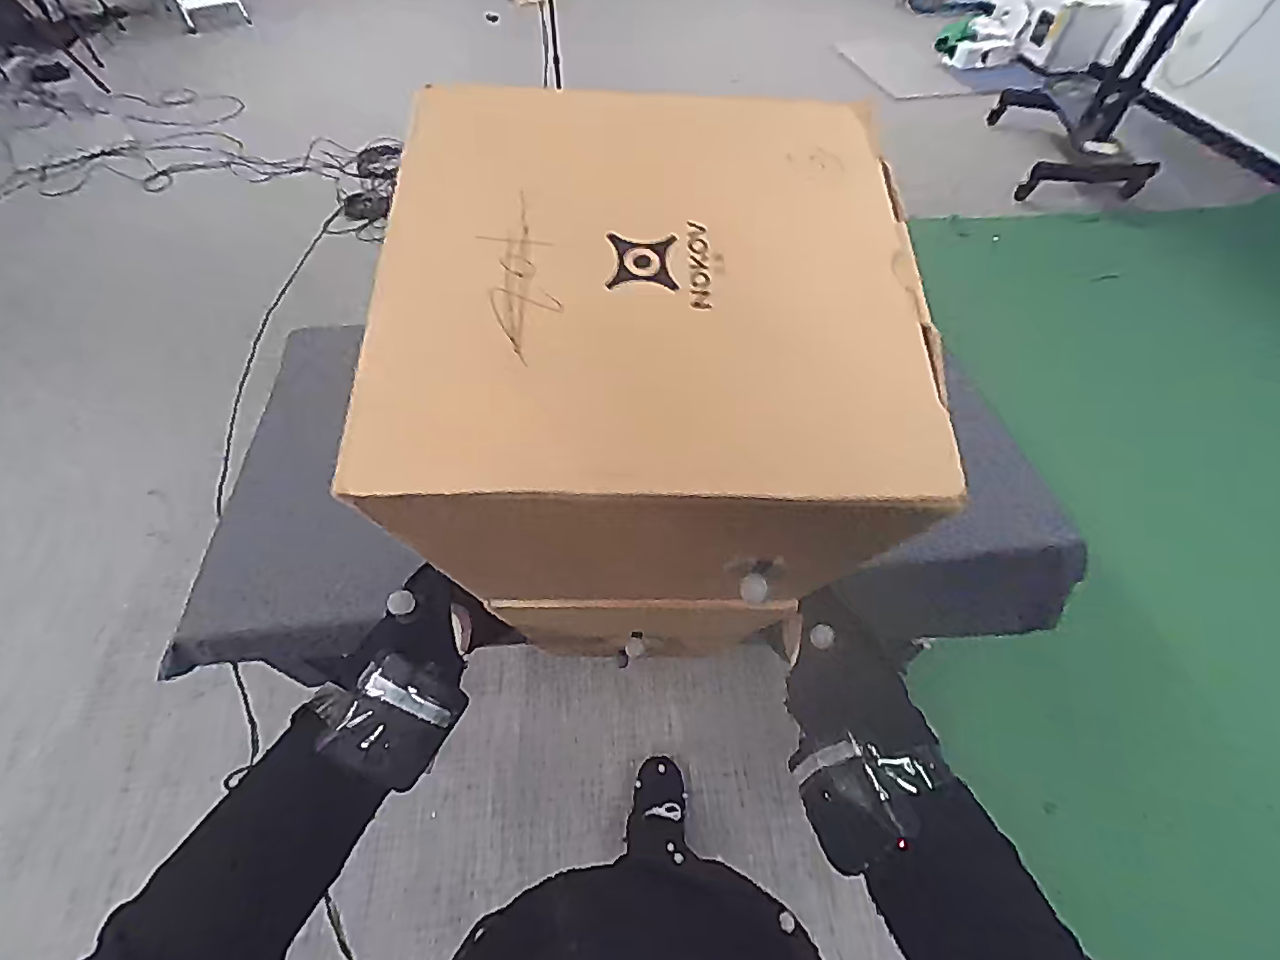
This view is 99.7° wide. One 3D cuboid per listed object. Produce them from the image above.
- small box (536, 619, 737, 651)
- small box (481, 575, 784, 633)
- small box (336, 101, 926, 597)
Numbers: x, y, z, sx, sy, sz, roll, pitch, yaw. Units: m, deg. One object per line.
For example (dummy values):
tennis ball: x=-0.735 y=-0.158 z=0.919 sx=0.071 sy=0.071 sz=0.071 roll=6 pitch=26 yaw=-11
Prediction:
small box: x=-0.011 y=0.084 z=0.561 sx=0.179 sy=0.176 sz=0.168 roll=-2 pitch=69 yaw=-5
small box: x=-0.007 y=0.021 z=0.409 sx=0.179 sy=0.176 sz=0.168 roll=1 pitch=67 yaw=-3
small box: x=-0.005 y=-0.041 z=0.259 sx=0.179 sy=0.176 sz=0.168 roll=-1 pitch=68 yaw=-2
